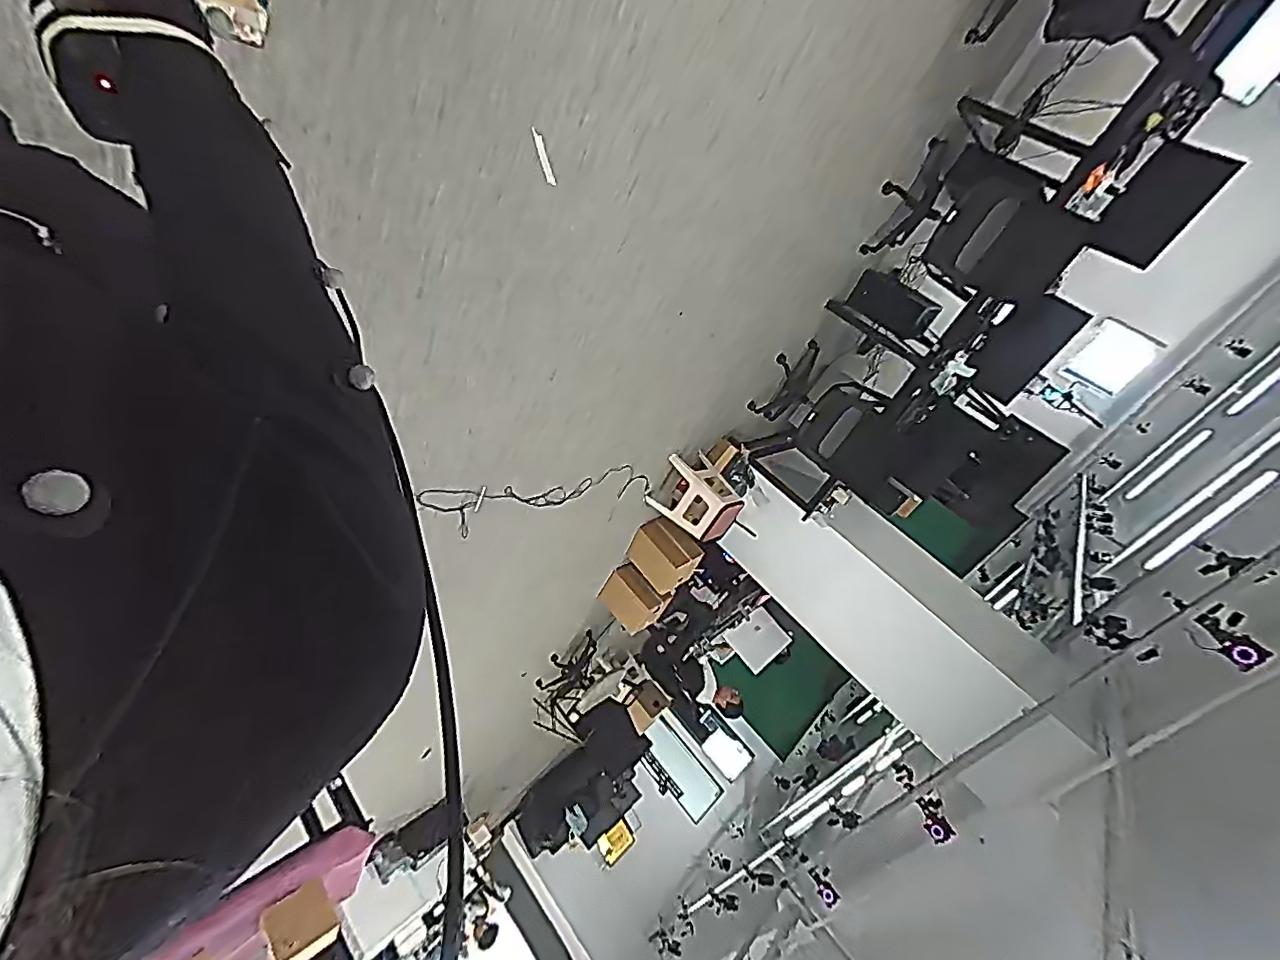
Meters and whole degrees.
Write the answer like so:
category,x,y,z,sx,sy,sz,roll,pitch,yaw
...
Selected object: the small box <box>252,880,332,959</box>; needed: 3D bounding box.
category,x,y,z,sx,sy,sz,roll,pitch,yaw
small box,-1.111,1.434,1.718,0.179,0.176,0.168,-15,142,-46
